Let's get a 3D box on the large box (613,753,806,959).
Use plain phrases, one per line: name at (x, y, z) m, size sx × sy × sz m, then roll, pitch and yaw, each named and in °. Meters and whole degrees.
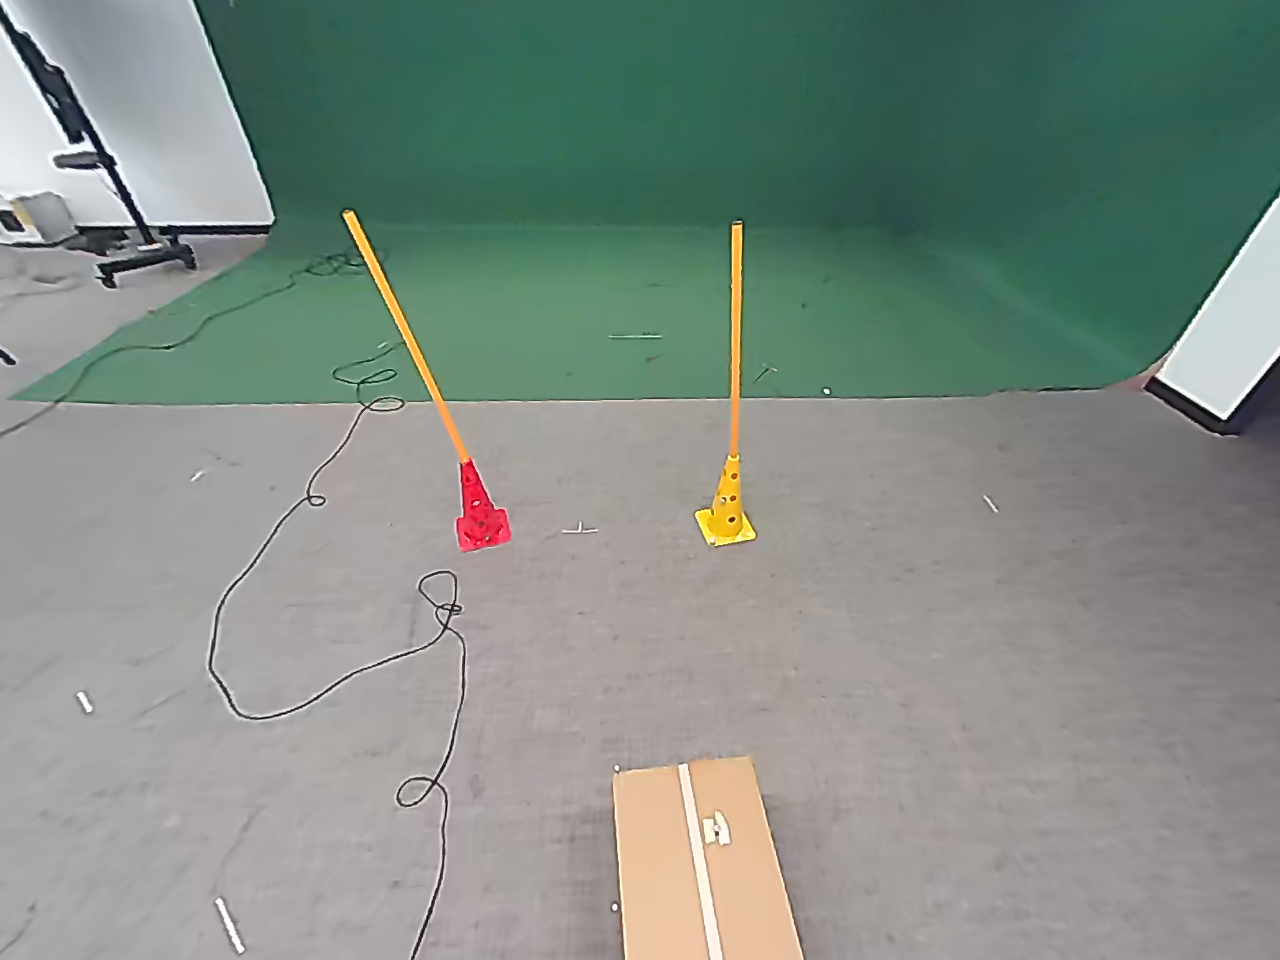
large box at (0.117, 0.865, 1.140) m, size 0.320 × 0.320 × 0.408 m, roll -3°, pitch 38°, yaw -5°
